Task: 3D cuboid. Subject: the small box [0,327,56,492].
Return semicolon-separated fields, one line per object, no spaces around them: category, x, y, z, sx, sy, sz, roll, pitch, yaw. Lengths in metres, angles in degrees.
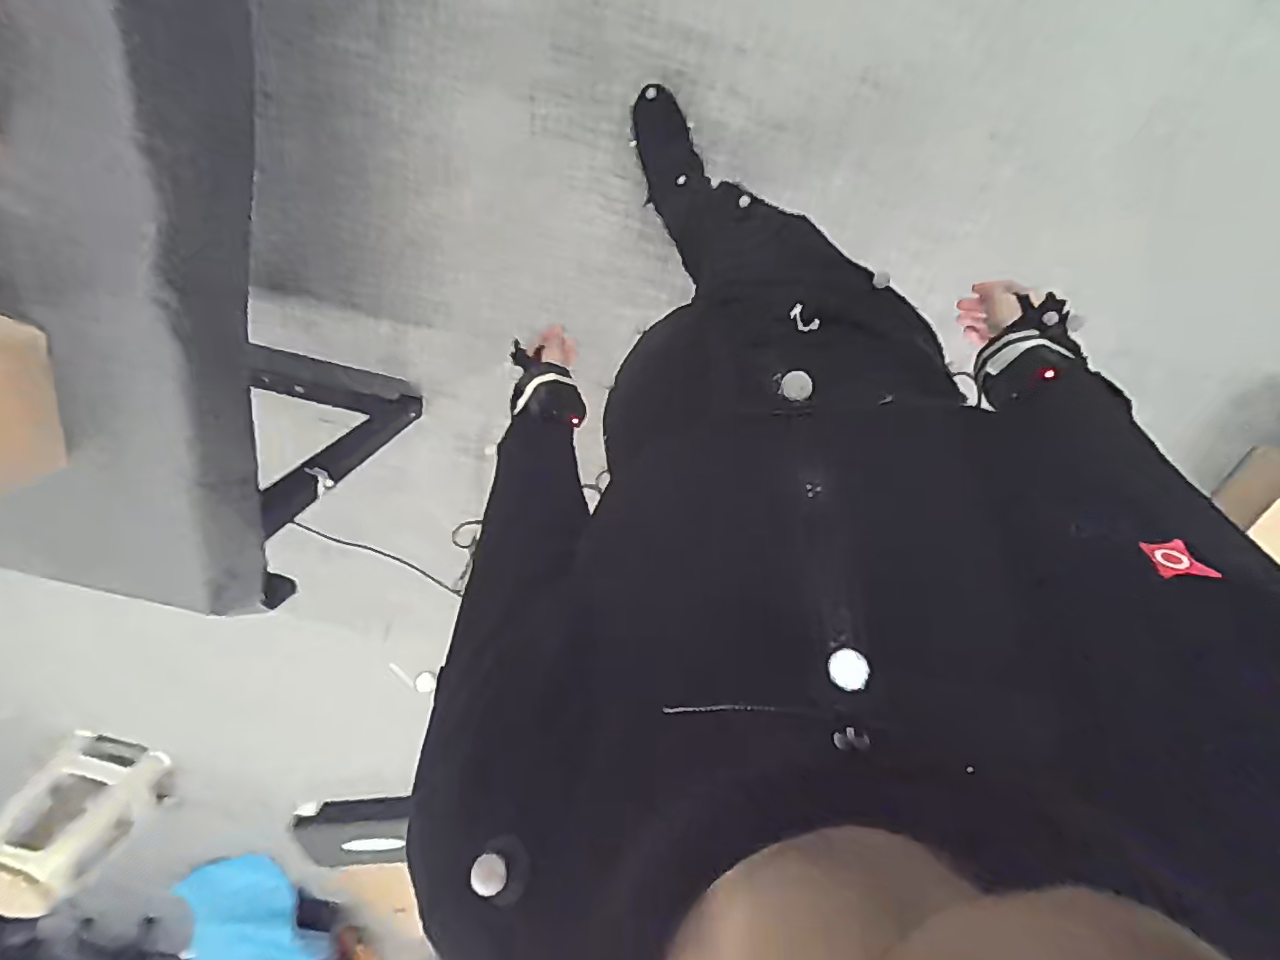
small box;-0.737;-0.075;0.522;0.168;0.176;0.179;19;116;-6
